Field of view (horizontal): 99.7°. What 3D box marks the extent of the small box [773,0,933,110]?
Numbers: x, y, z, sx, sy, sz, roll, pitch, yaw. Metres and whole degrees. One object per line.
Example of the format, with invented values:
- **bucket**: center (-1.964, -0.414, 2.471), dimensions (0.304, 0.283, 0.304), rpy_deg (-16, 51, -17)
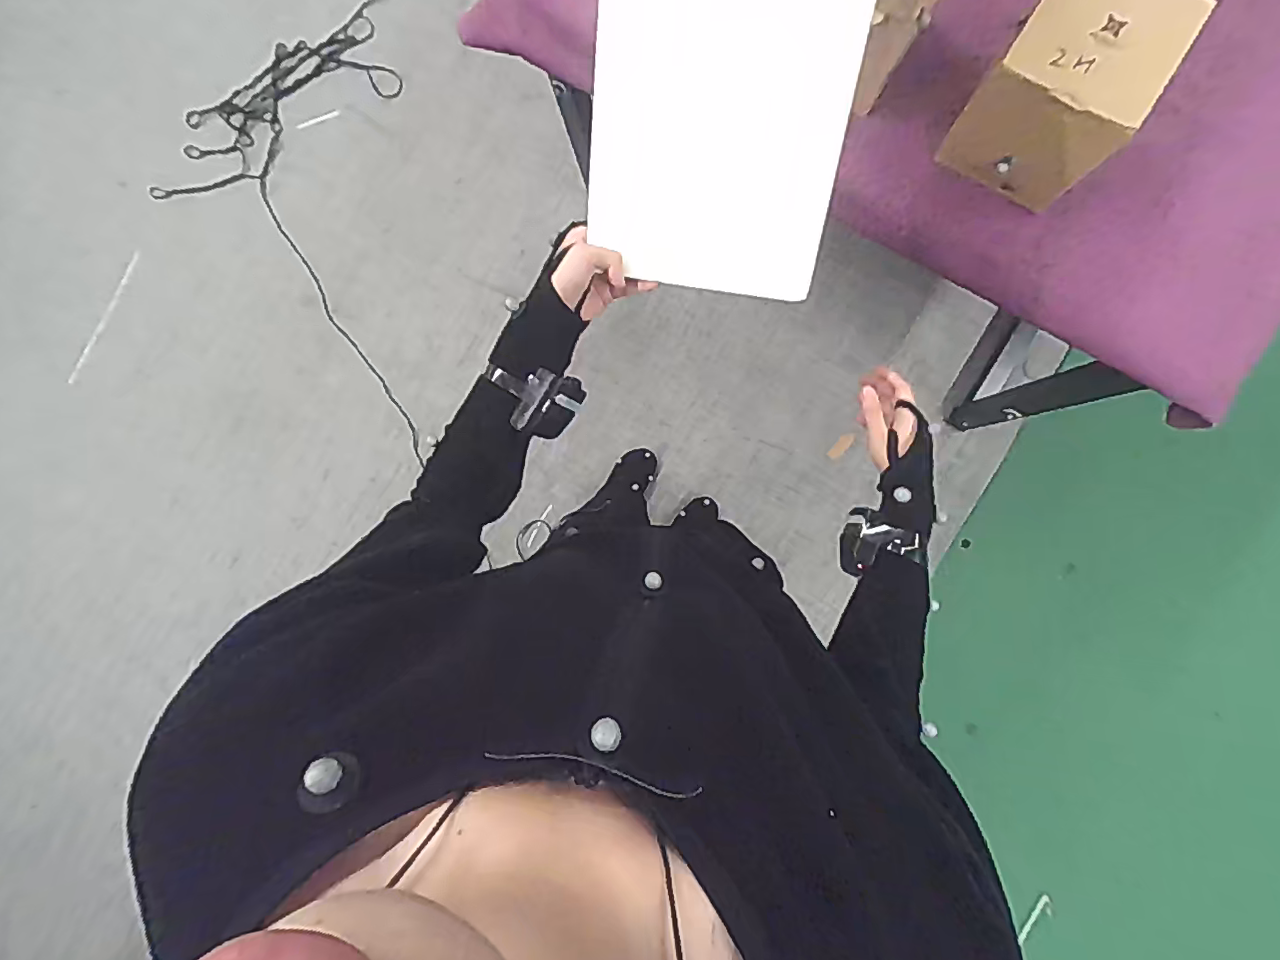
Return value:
- **small box**: center (0.292, -0.643, 0.709), dimensions (0.168, 0.176, 0.179), rpy_deg (33, 92, 4)
